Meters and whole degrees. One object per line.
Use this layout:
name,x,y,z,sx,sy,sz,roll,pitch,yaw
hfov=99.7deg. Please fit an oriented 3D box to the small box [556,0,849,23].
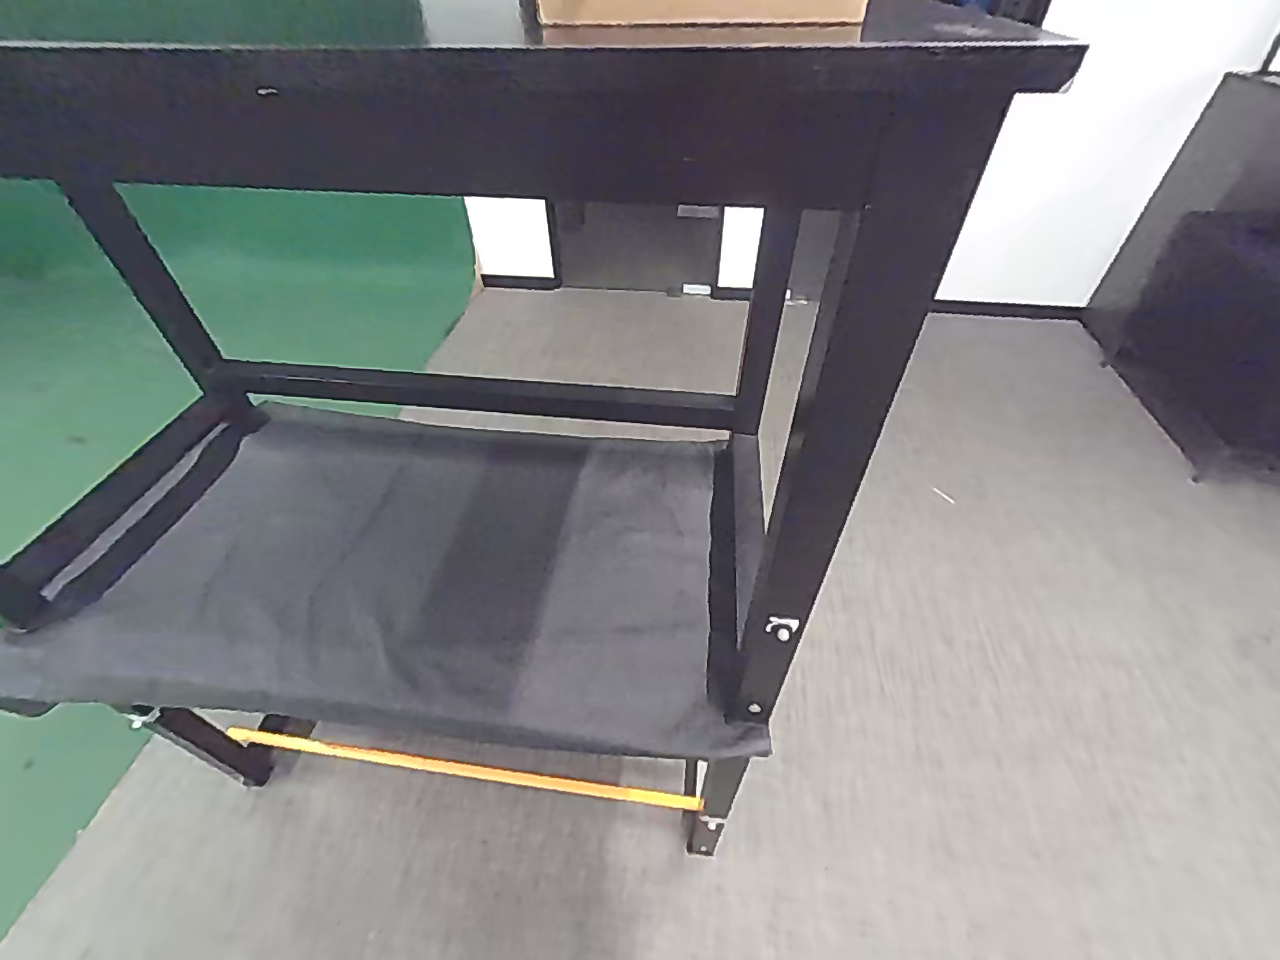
small box,0.041,-0.354,0.283,0.168,0.176,0.179,7,44,8
